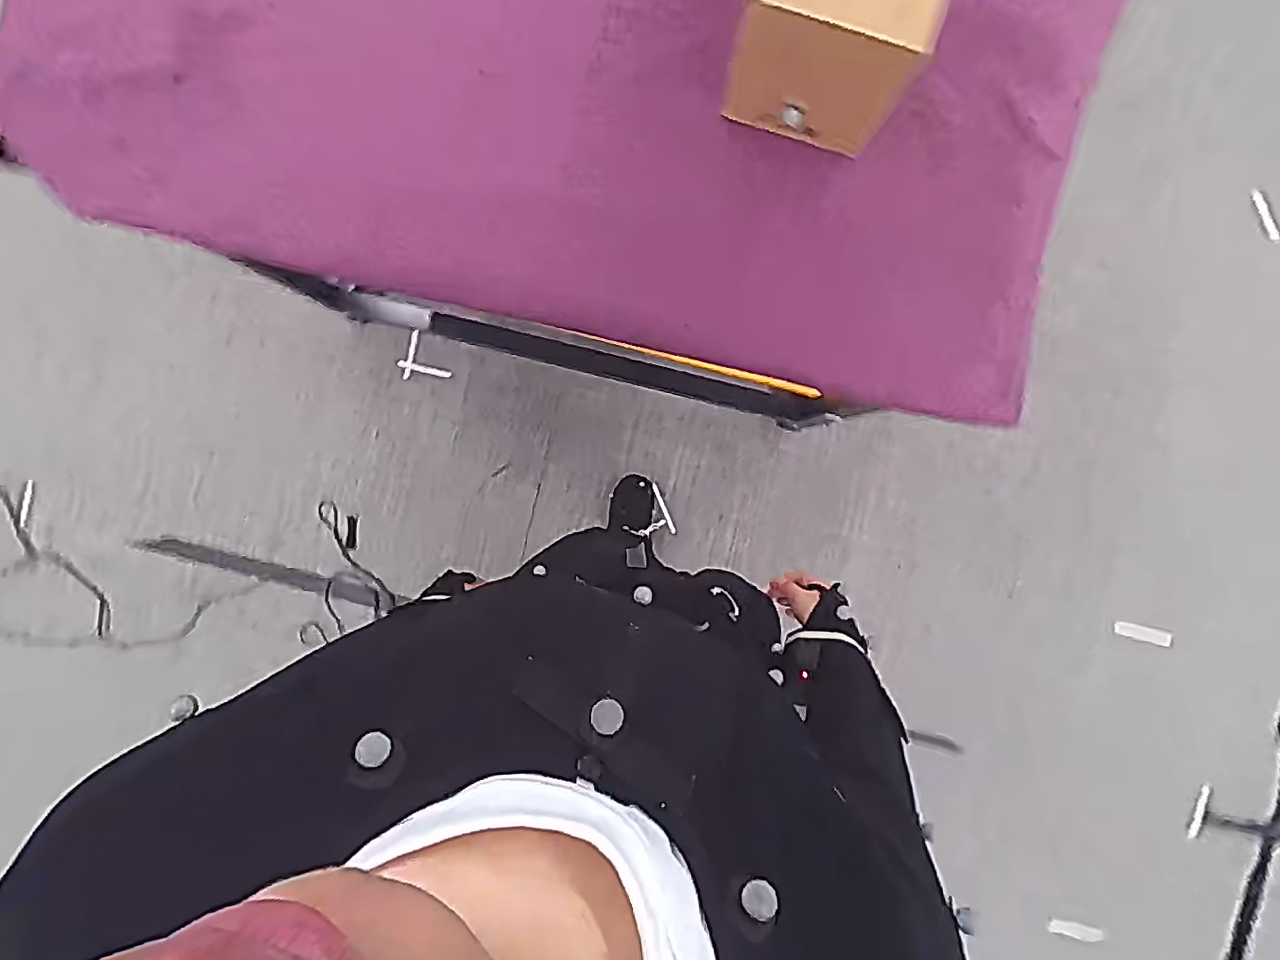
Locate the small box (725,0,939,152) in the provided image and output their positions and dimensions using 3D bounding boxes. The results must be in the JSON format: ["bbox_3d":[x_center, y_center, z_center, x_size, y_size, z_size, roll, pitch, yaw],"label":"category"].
[{"bbox_3d":[0.195,-0.483,0.549,0.168,0.176,0.179,17,92,0],"label":"small box"}]
